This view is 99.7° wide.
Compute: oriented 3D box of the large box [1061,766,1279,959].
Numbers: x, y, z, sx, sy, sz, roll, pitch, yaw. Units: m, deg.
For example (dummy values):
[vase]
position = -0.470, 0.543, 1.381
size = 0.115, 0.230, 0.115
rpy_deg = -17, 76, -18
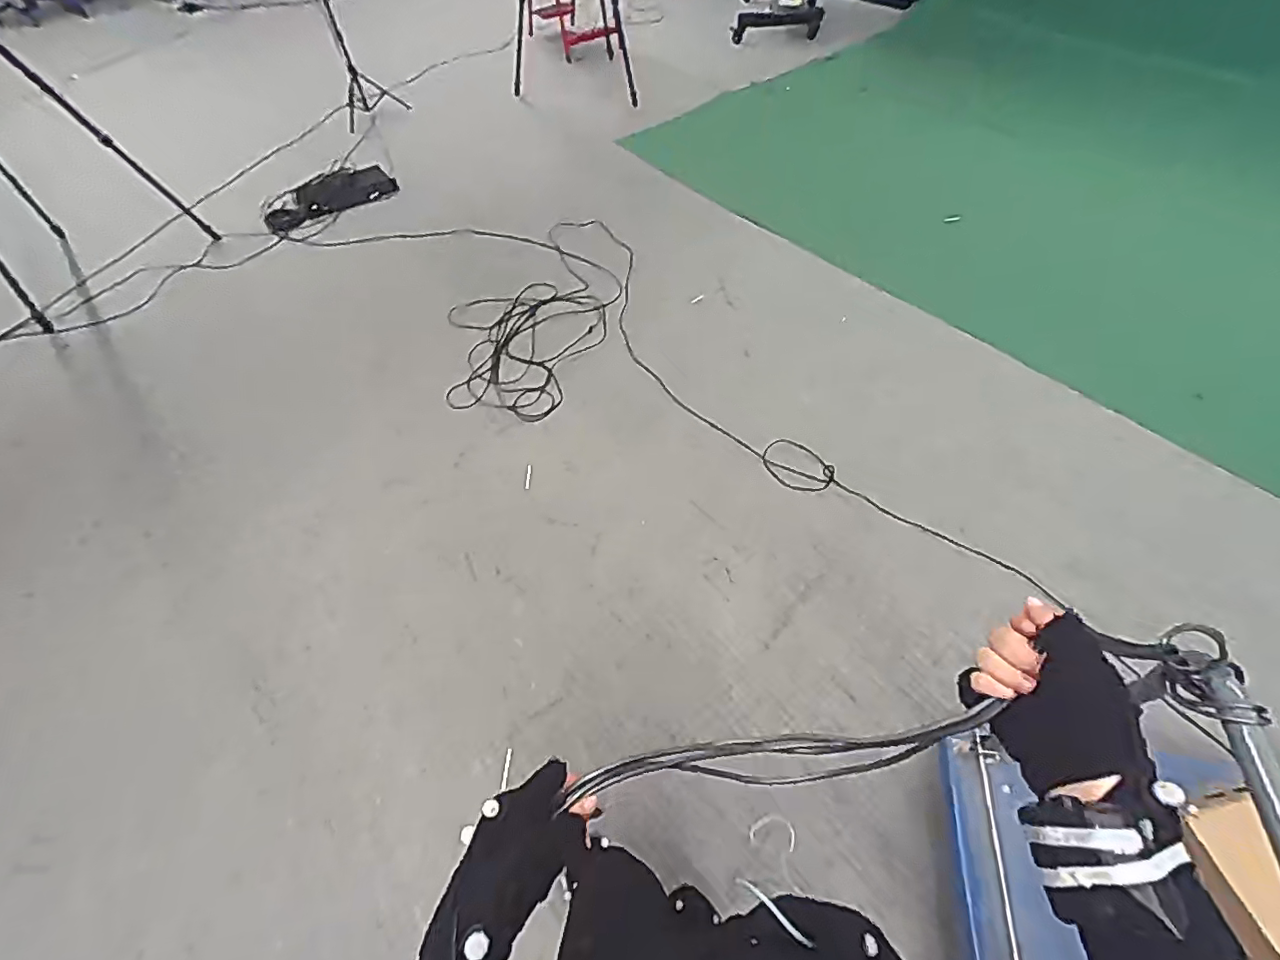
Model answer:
[large box]
position = 1.002, 0.711, 0.840
size = 0.320, 0.320, 0.408
rpy_deg = -12, 55, -6
